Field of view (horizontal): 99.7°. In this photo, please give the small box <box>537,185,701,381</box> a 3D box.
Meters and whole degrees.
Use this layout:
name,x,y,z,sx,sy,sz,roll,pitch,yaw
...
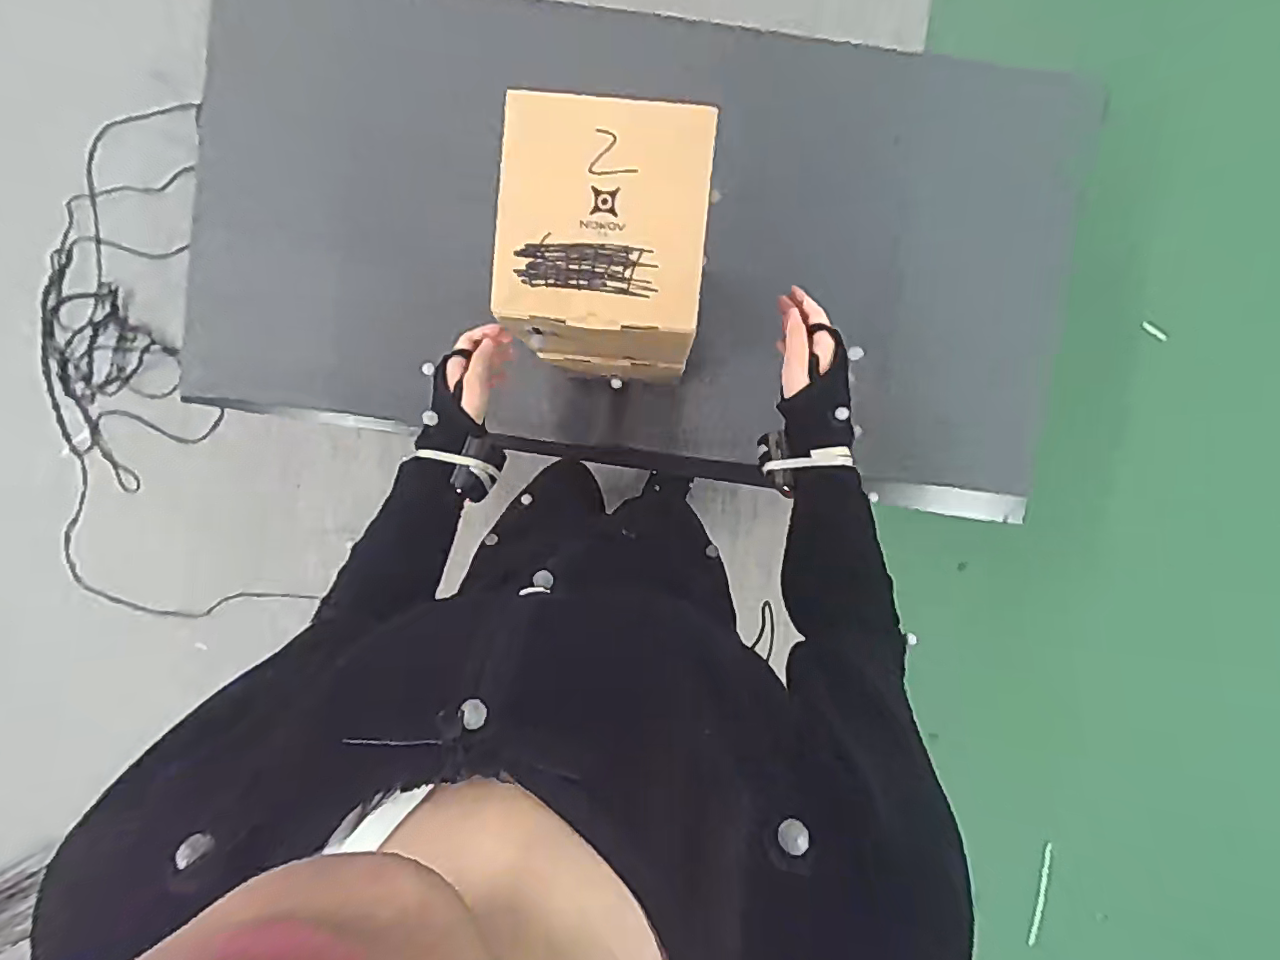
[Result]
name,x,y,z,sx,sy,sz,roll,pitch,yaw
small box,-0.023,-0.224,0.654,0.168,0.176,0.179,4,94,1
